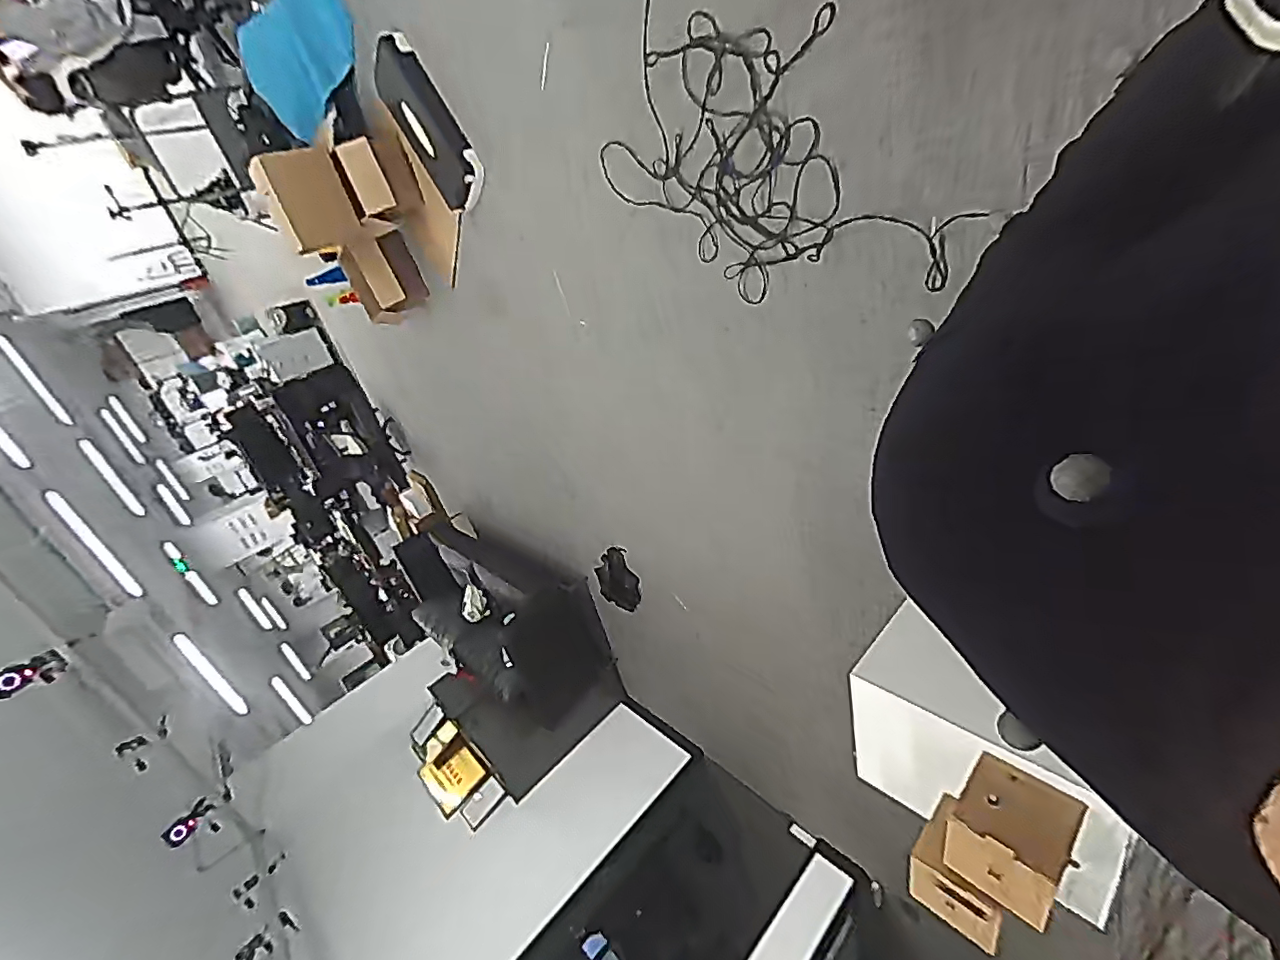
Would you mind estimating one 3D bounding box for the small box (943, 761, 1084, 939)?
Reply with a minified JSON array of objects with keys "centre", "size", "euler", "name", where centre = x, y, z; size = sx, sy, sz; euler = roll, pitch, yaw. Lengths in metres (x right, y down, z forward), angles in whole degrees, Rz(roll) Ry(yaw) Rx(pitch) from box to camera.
[{"centre":[0.679,0.663,0.988],"size":[0.168,0.176,0.179],"euler":[20,135,46],"name":"small box"}]
